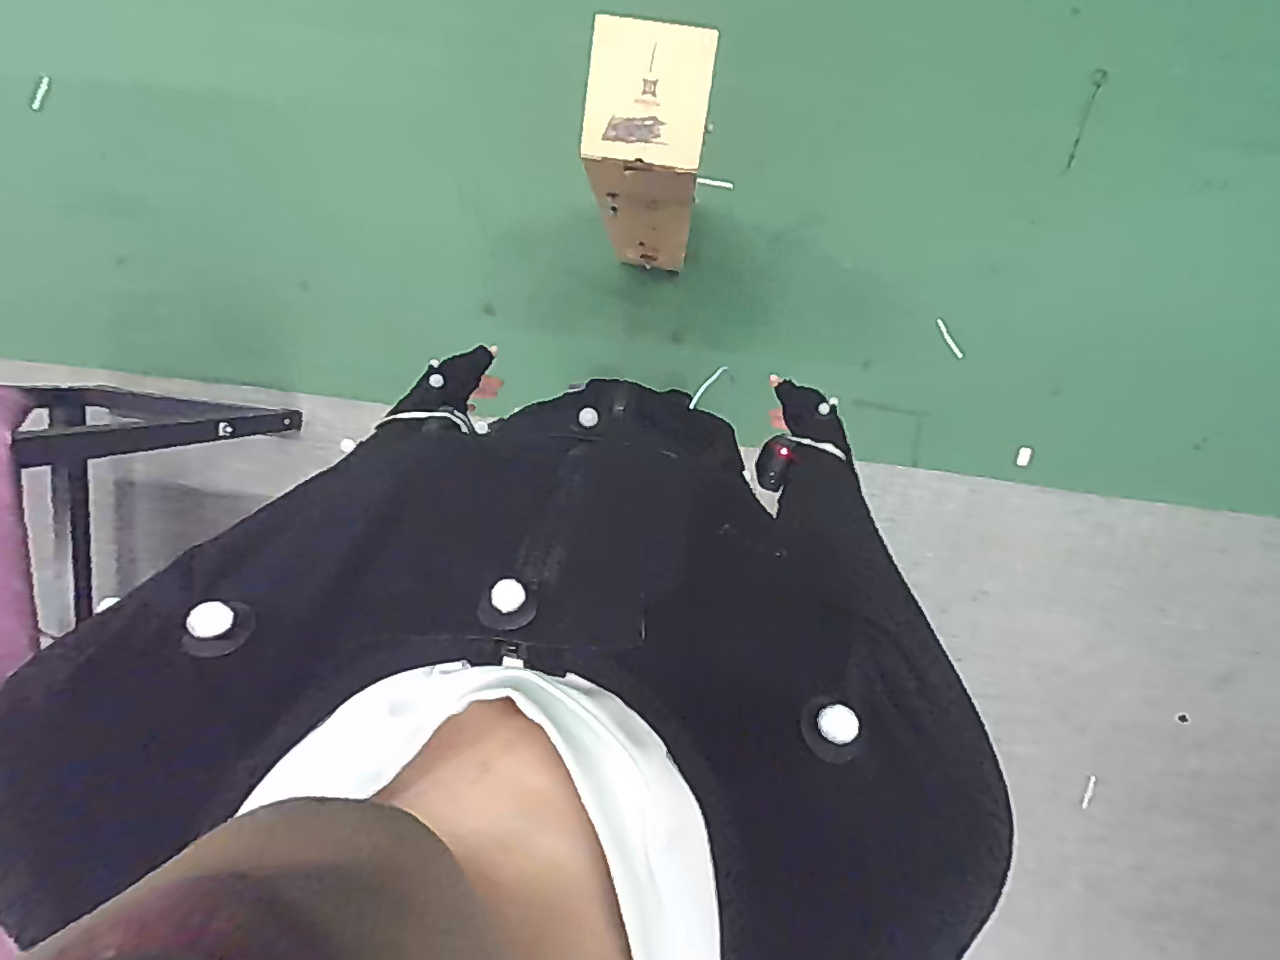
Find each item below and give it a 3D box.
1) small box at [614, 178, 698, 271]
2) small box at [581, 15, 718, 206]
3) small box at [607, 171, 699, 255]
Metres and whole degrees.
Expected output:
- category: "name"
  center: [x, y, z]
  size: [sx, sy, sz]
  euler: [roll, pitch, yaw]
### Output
- category: "small box"
  center: [0.037, -0.618, 1.289]
  size: [0.168, 0.176, 0.179]
  euler: [10, 100, 1]
- category: "small box"
  center: [0.015, -0.532, 0.805]
  size: [0.168, 0.176, 0.179]
  euler: [9, 100, 0]
- category: "small box"
  center: [0.029, -0.590, 1.129]
  size: [0.168, 0.176, 0.179]
  euler: [8, 101, 1]
